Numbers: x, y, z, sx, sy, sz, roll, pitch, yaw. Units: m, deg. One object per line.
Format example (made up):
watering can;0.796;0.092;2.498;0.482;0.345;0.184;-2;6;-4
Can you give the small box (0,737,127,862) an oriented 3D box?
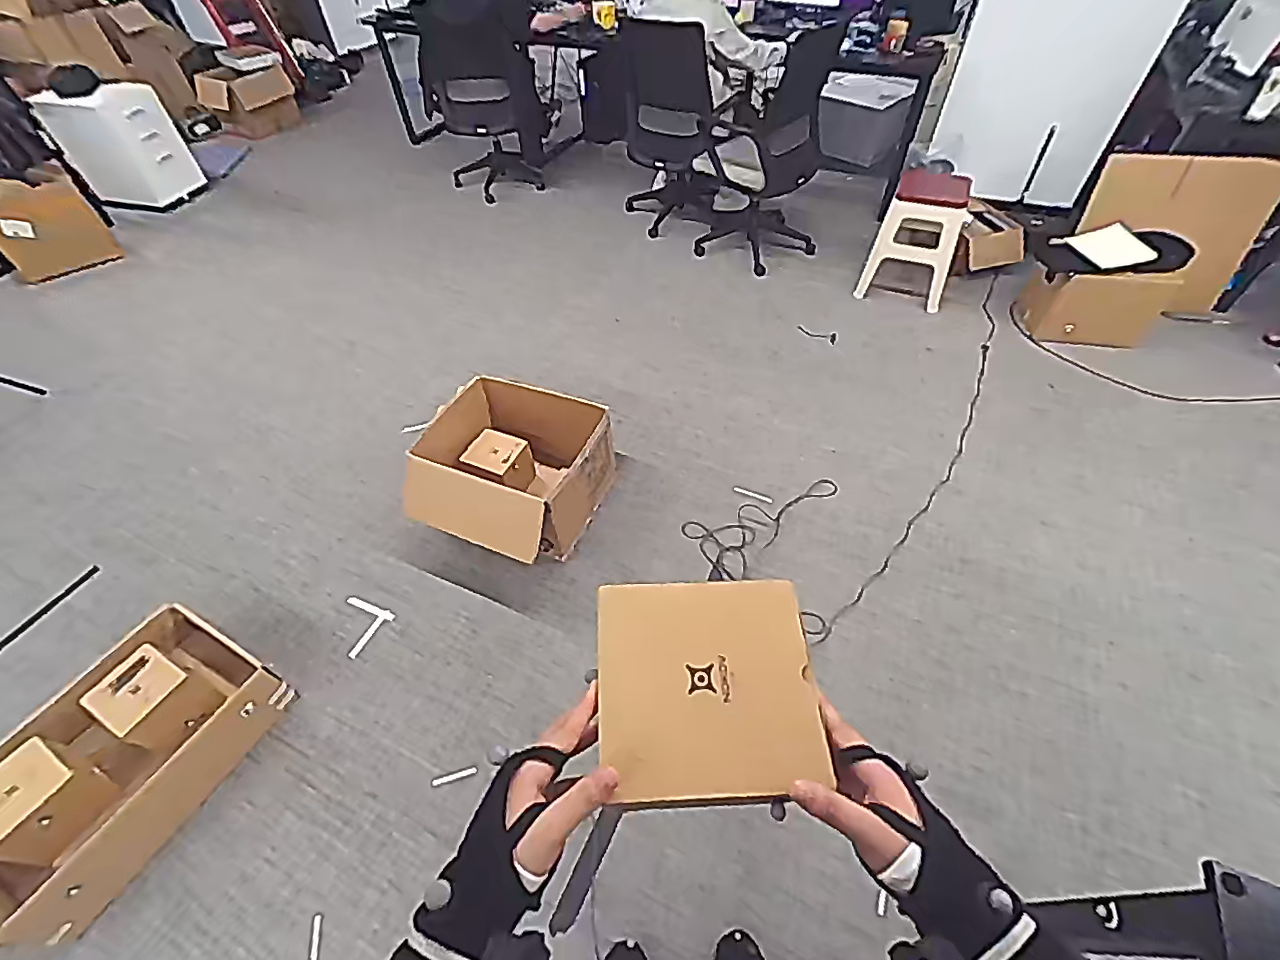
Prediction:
small box;-1.349;0.729;1.228;0.168;0.176;0.179;24;53;18

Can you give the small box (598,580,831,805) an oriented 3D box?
small box;0.052;0.204;0.507;0.179;0.176;0.168;-1;58;-3
